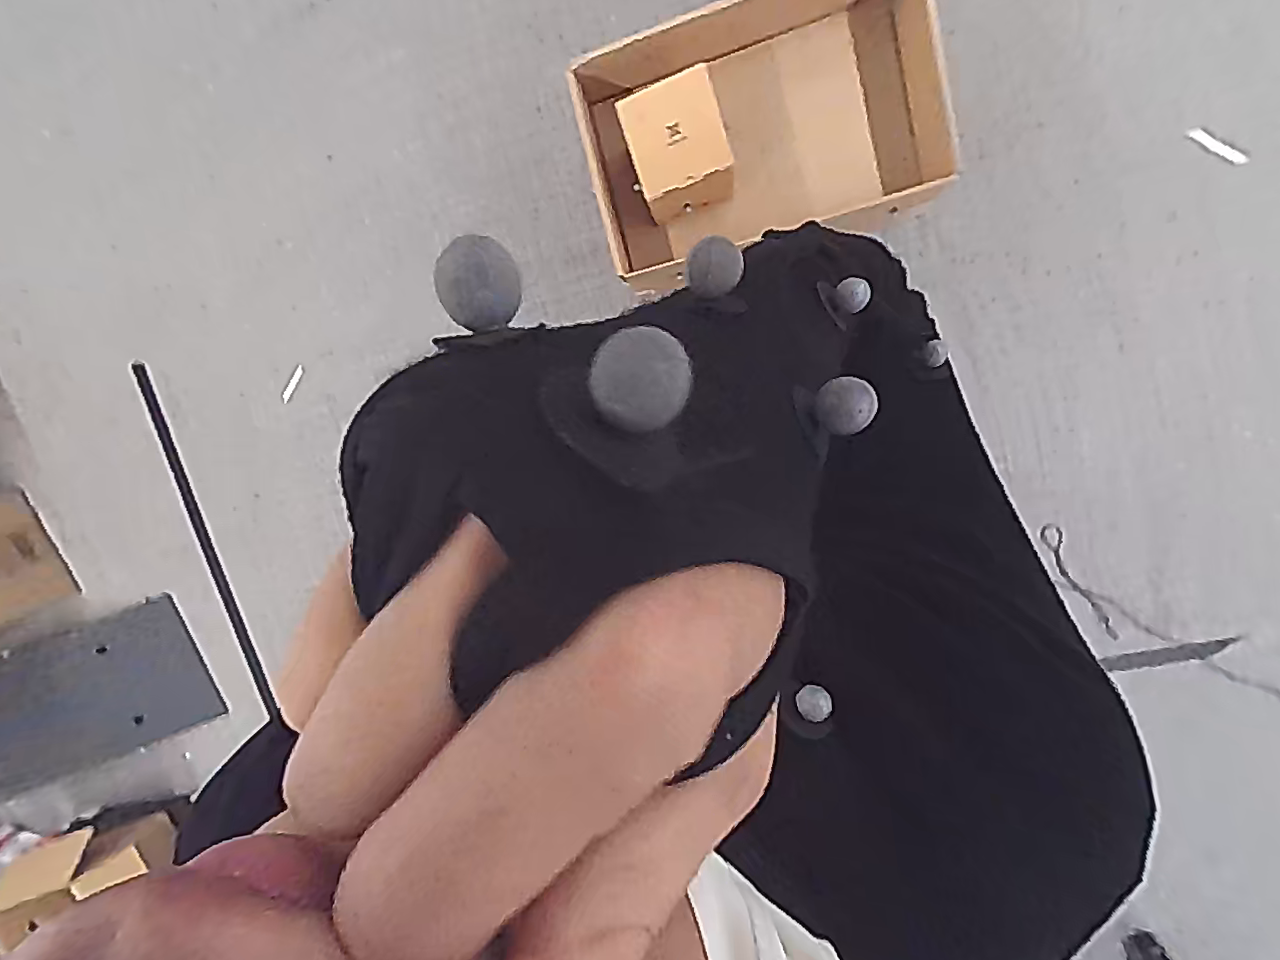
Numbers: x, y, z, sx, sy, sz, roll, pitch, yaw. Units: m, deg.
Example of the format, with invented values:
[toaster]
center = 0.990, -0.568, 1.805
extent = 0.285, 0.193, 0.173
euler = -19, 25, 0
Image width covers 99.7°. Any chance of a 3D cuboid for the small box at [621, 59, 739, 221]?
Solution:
[small box]
center = 0.078, -0.621, 1.014
extent = 0.168, 0.176, 0.179
euler = -18, 97, 11
